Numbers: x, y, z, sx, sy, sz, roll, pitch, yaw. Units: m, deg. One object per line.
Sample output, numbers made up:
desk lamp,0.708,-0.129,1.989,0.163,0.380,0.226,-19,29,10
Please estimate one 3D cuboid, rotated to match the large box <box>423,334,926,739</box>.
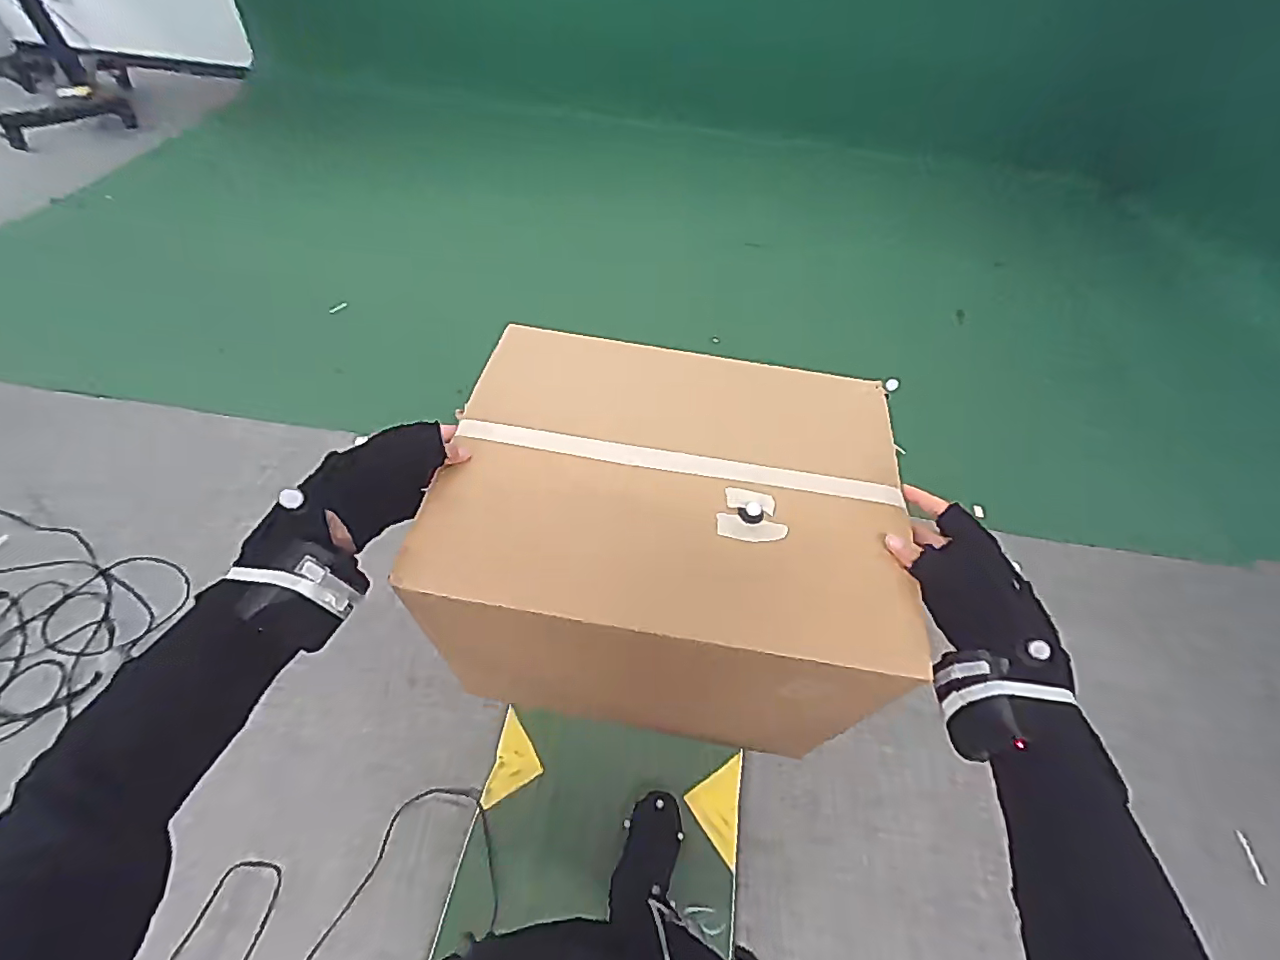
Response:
large box,0.031,0.076,0.622,0.408,0.320,0.320,10,54,1
